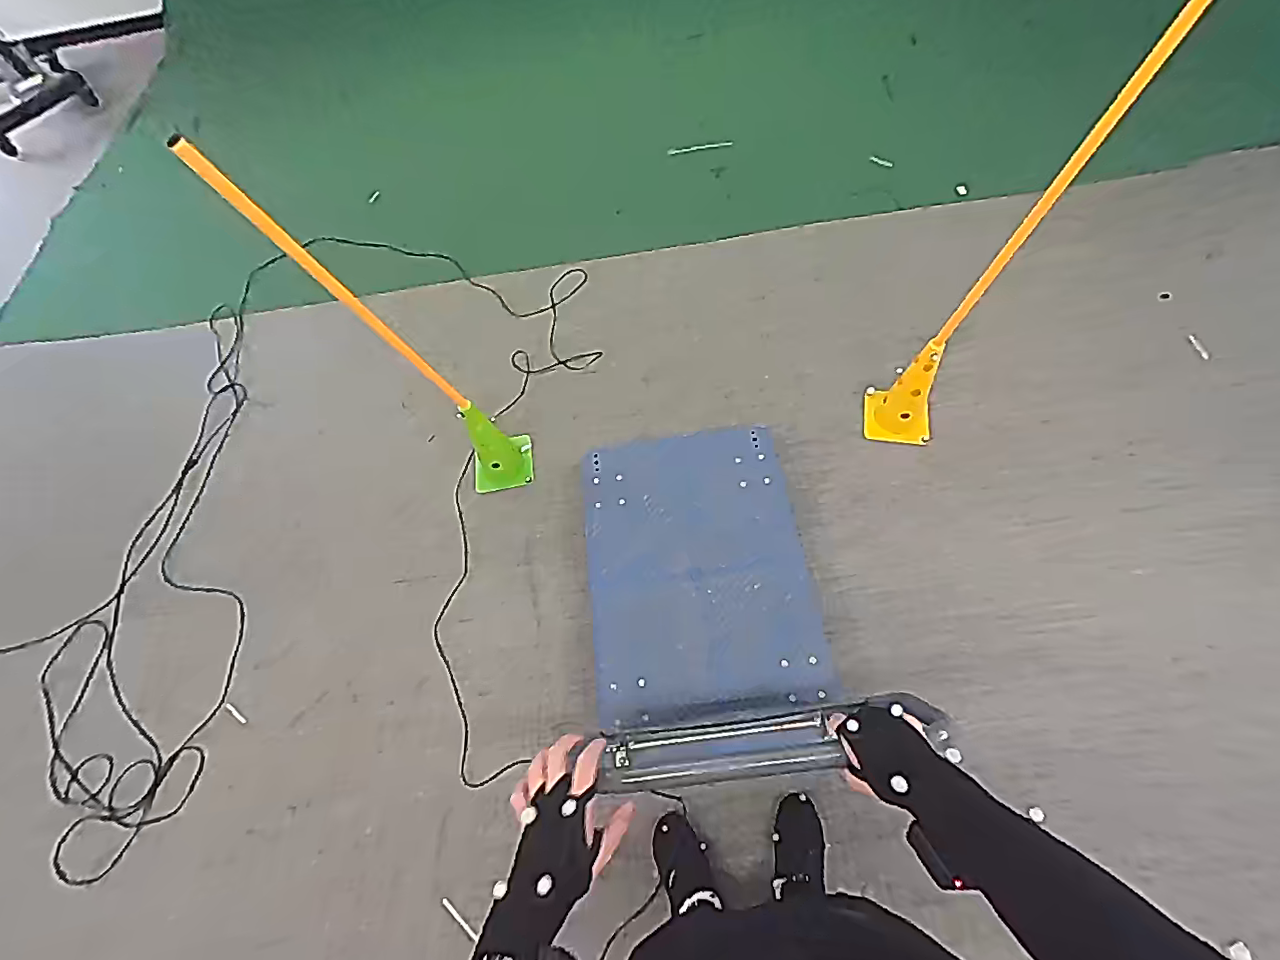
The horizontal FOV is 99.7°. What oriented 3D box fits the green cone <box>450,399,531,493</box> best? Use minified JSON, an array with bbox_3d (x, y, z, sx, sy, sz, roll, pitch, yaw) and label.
[{"bbox_3d":[-0.497,-0.138,1.700,0.202,0.368,0.200,-12,61,2],"label":"green cone"}]
